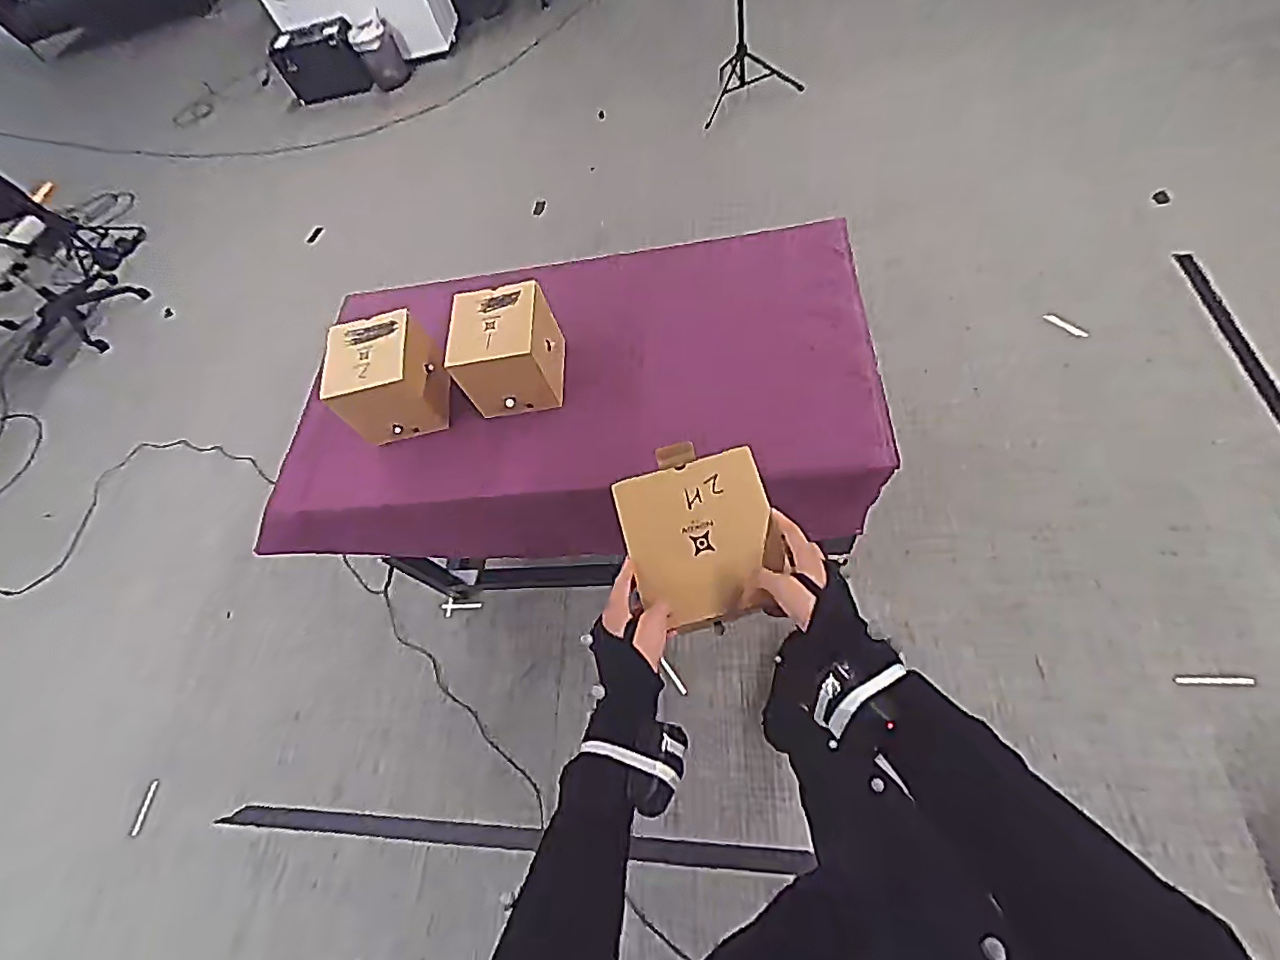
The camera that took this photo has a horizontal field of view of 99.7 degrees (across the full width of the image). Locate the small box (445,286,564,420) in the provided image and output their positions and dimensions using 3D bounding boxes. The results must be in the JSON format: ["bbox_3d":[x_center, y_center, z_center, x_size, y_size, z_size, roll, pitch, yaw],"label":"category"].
[{"bbox_3d":[-0.253,-0.241,1.052,0.168,0.176,0.179,-8,62,9],"label":"small box"}]

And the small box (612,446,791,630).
[{"bbox_3d":[0.074,0.084,0.677,0.168,0.176,0.179,-16,70,1],"label":"small box"}]
